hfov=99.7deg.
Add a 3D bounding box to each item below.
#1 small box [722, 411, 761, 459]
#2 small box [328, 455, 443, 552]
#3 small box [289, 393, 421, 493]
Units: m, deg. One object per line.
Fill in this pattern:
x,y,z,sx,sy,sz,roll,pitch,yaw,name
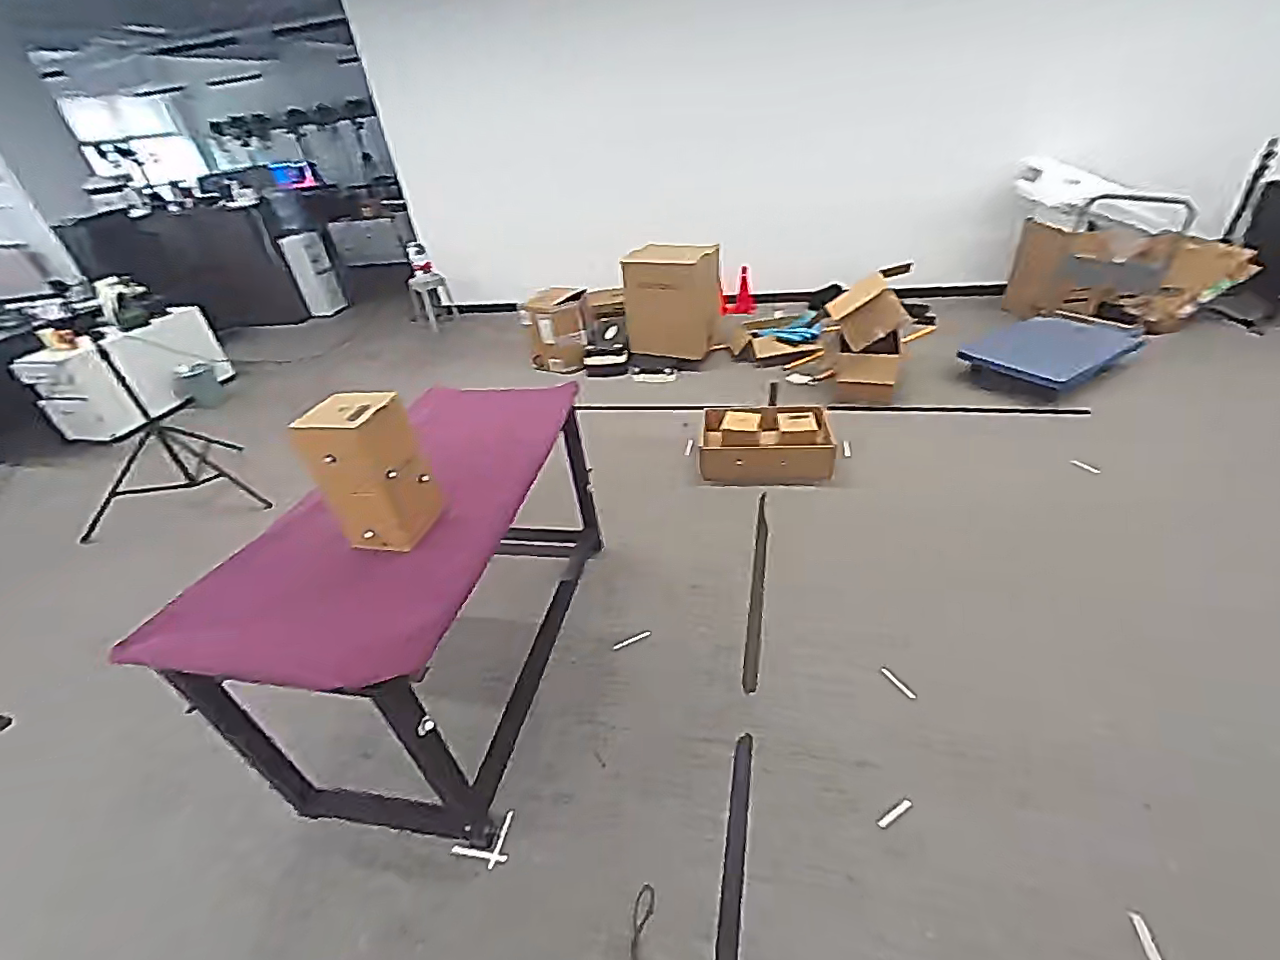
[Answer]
0.505,-0.225,2.687,0.168,0.176,0.179,7,37,17,small box
-0.605,0.051,1.318,0.168,0.176,0.179,2,36,15,small box
-0.631,-0.083,1.226,0.179,0.176,0.168,1,35,13,small box
